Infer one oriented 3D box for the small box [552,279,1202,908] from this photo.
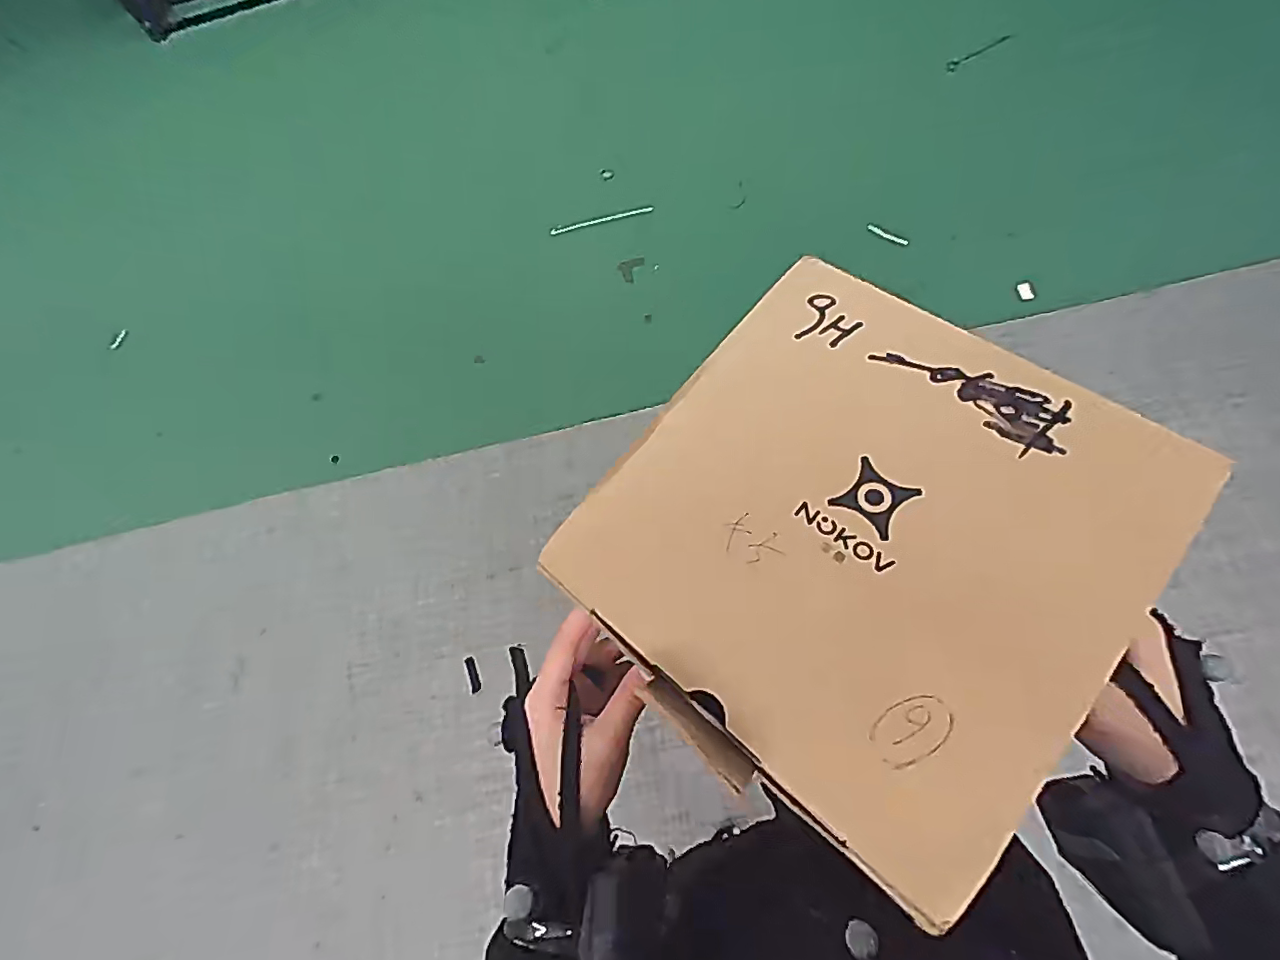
[{"bbox_3d":[0.092,0.047,0.272,0.168,0.176,0.179,38,79,21],"label":"small box"}]
